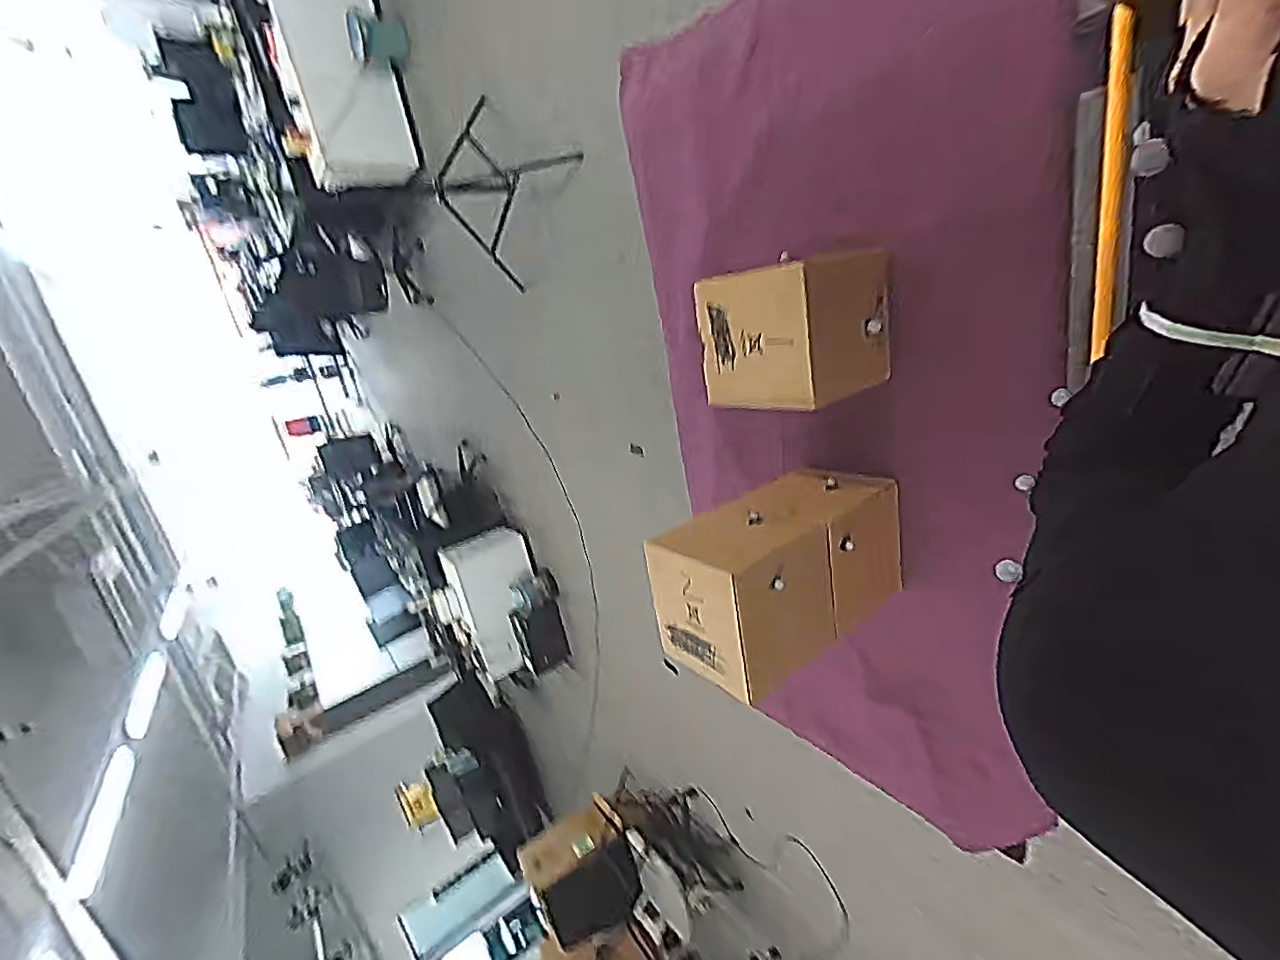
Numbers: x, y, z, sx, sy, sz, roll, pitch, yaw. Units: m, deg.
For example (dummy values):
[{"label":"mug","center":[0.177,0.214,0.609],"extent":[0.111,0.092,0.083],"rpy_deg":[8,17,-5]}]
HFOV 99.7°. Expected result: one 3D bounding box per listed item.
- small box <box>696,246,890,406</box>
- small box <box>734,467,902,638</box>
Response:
[{"label":"small box","center":[0.201,-0.200,0.710],"extent":[0.179,0.176,0.168],"rpy_deg":[14,121,52]},{"label":"small box","center":[0.265,0.095,0.798],"extent":[0.168,0.176,0.179],"rpy_deg":[12,118,53]}]
